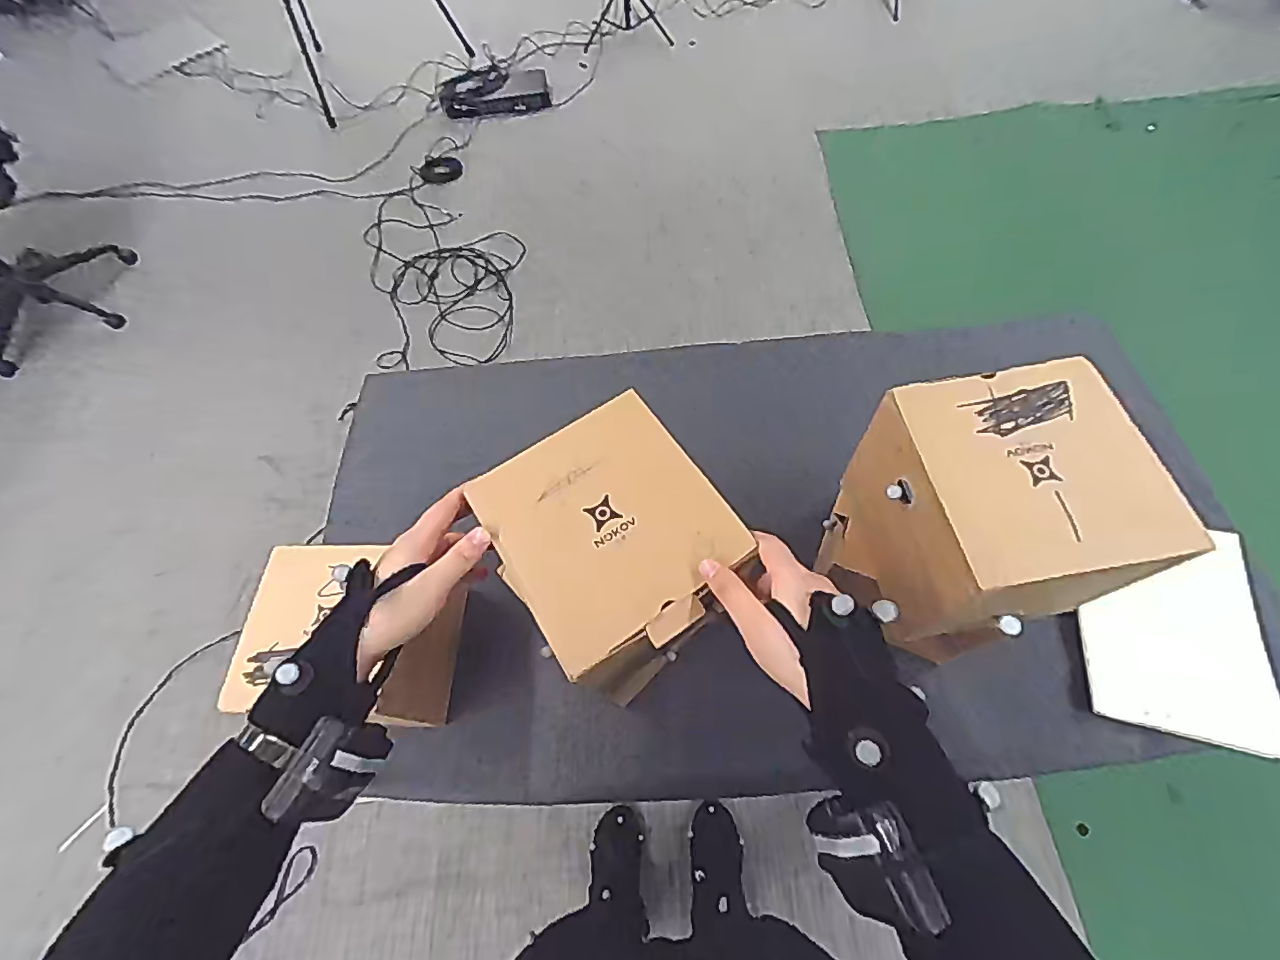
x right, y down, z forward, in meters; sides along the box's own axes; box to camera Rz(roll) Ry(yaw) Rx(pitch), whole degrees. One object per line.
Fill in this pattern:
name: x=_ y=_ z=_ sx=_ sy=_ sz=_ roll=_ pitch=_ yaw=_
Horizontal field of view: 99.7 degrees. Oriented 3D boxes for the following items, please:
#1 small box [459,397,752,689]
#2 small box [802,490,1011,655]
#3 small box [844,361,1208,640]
small box: x=-0.026 y=0.067 z=0.483 sx=0.168 sy=0.176 sz=0.179 roll=-32 pitch=66 yaw=-13
small box: x=0.309 y=0.088 z=0.630 sx=0.179 sy=0.176 sz=0.168 roll=21 pitch=66 yaw=16
small box: x=0.300 y=0.026 z=0.477 sx=0.168 sy=0.176 sz=0.179 roll=-10 pitch=62 yaw=0
